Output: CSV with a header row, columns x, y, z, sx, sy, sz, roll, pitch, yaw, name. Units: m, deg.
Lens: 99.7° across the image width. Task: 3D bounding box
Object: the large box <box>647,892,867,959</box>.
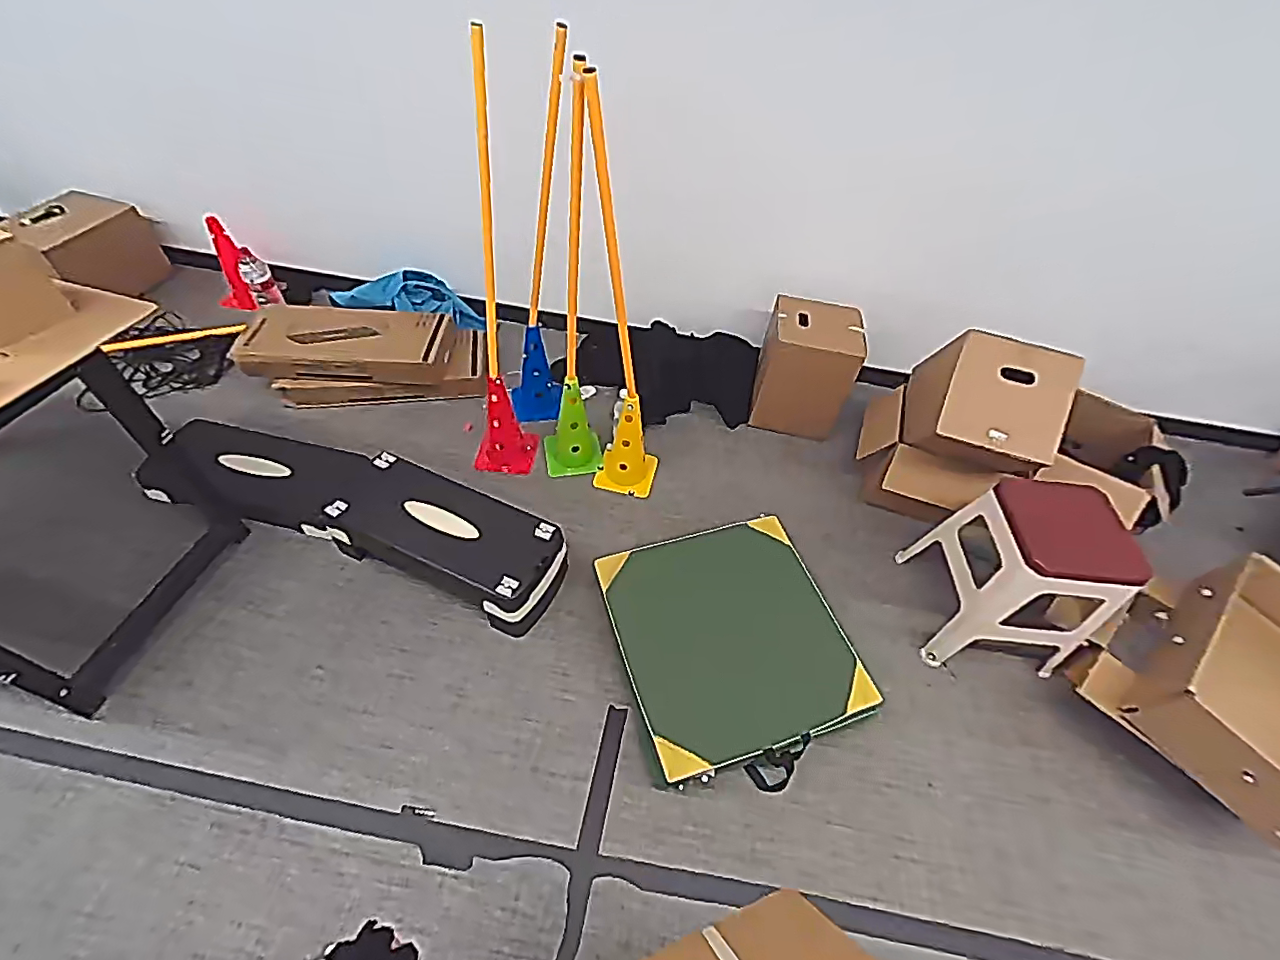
x,y,z,sx,sy,sz,roll,pitch,yaw,name
0.196,0.797,0.626,0.320,0.408,0.320,-12,82,-19,large box
